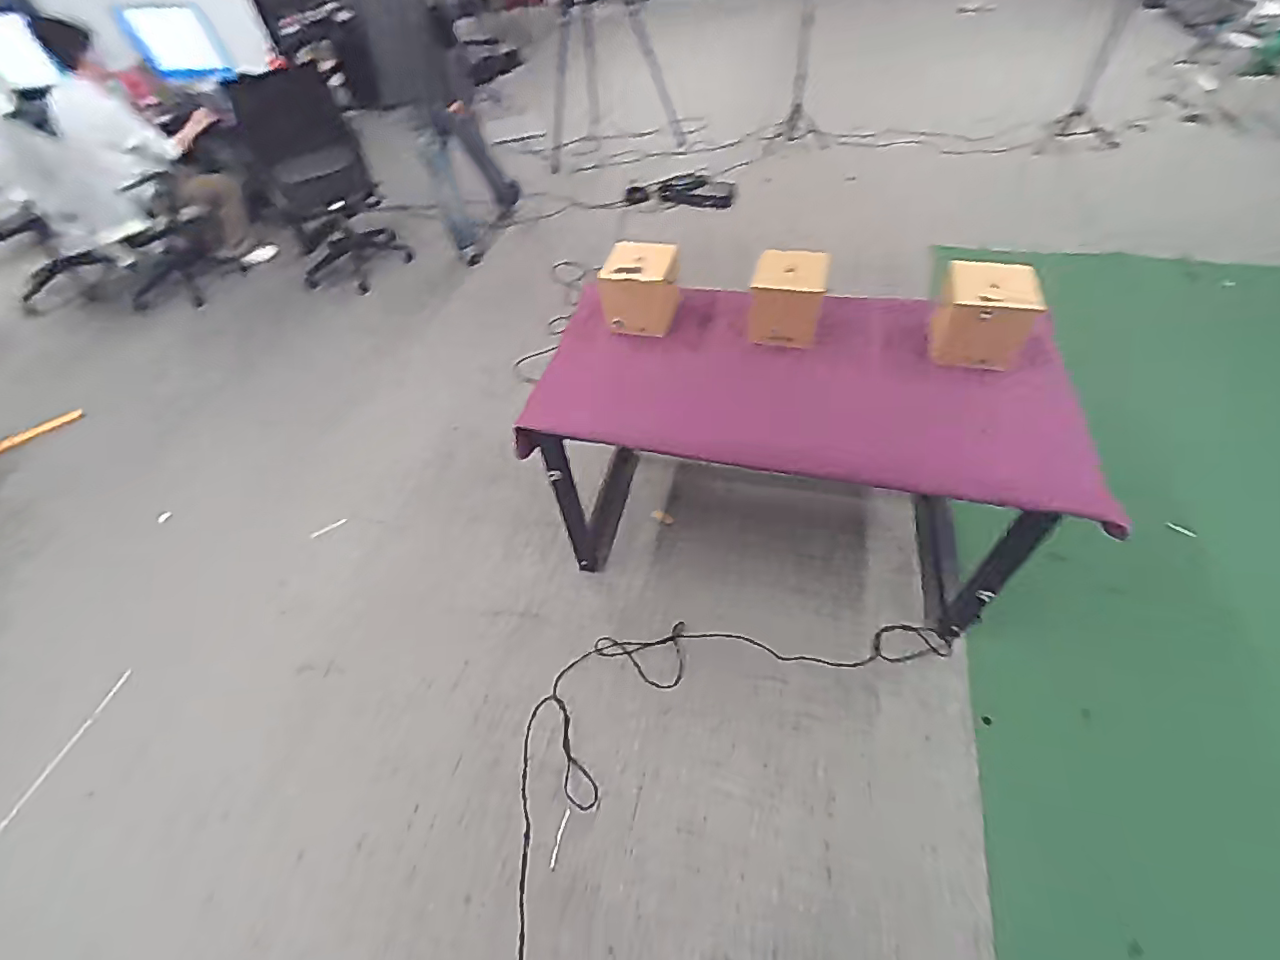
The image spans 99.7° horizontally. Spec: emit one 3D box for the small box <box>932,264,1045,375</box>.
[{"bbox_3d":[0.789,-0.369,1.244,0.168,0.176,0.179,10,53,14],"label":"small box"}]

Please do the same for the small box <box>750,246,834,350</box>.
[{"bbox_3d":[0.373,-0.454,1.347,0.168,0.176,0.179,12,55,14],"label":"small box"}]

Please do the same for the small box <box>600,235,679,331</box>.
[{"bbox_3d":[0.007,-0.514,1.419,0.168,0.176,0.179,11,54,12],"label":"small box"}]
